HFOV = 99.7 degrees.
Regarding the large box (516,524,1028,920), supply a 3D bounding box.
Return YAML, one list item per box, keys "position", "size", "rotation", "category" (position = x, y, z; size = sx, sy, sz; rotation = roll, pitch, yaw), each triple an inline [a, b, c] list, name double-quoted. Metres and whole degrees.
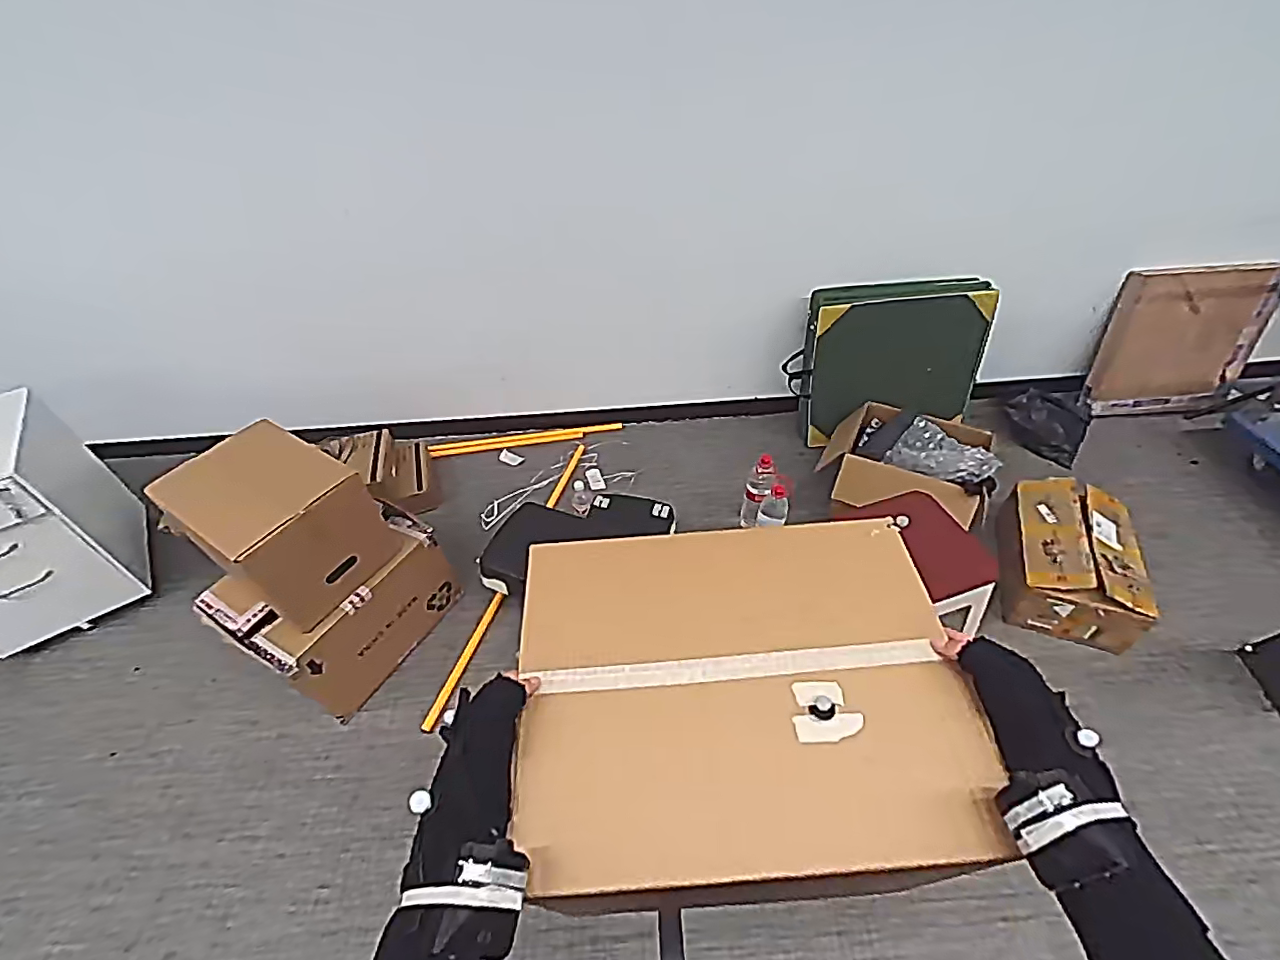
- position: [0.096, 0.278, 0.617]
  size: [0.408, 0.320, 0.320]
  rotation: [-4, 49, -1]
  category: "large box"
